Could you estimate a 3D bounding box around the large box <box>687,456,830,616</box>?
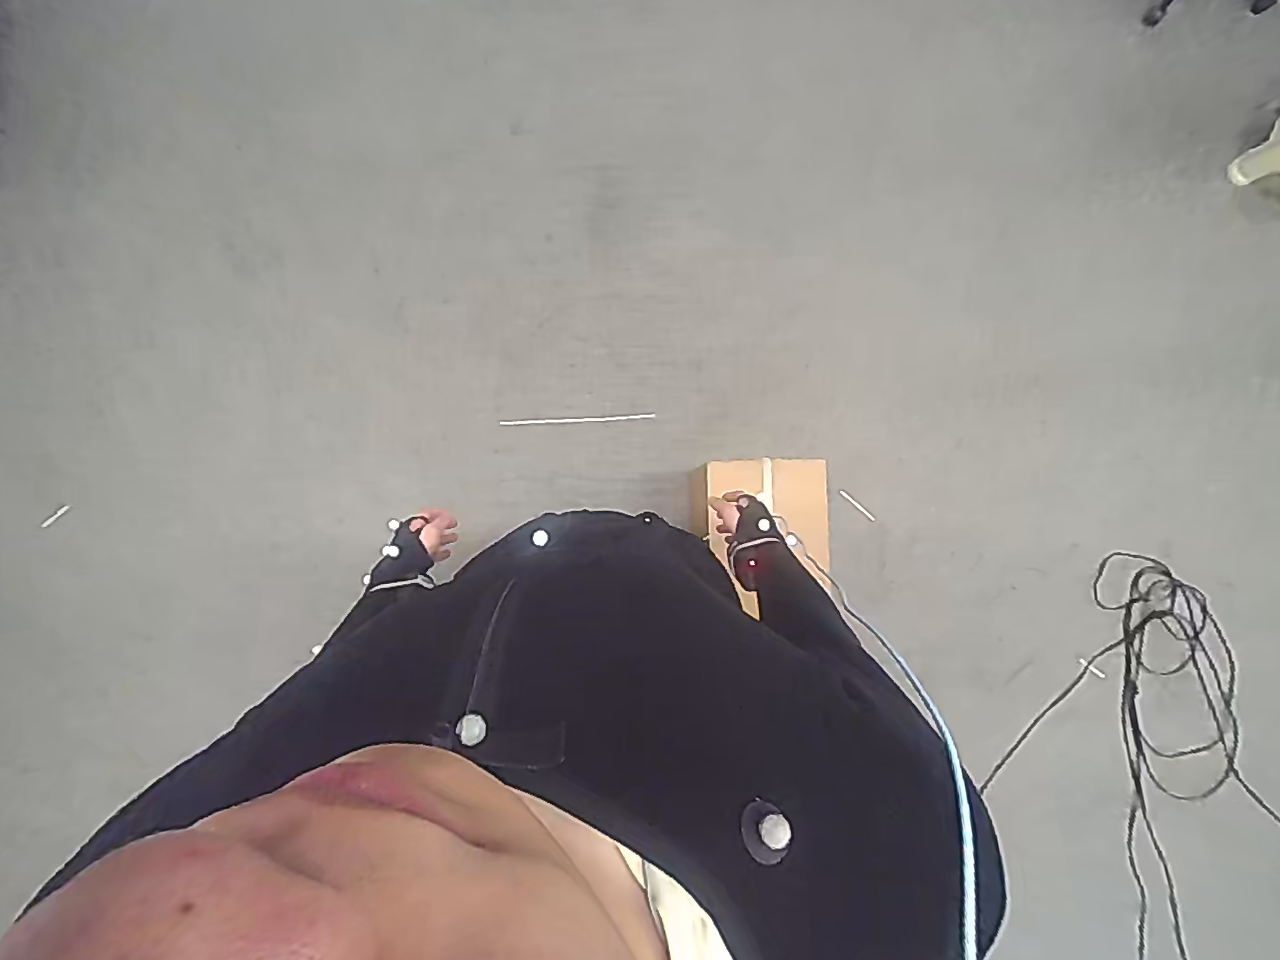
[{"bbox_3d":[0.315,0.146,1.528,0.320,0.320,0.408,-1,88,-3],"label":"large box"}]
